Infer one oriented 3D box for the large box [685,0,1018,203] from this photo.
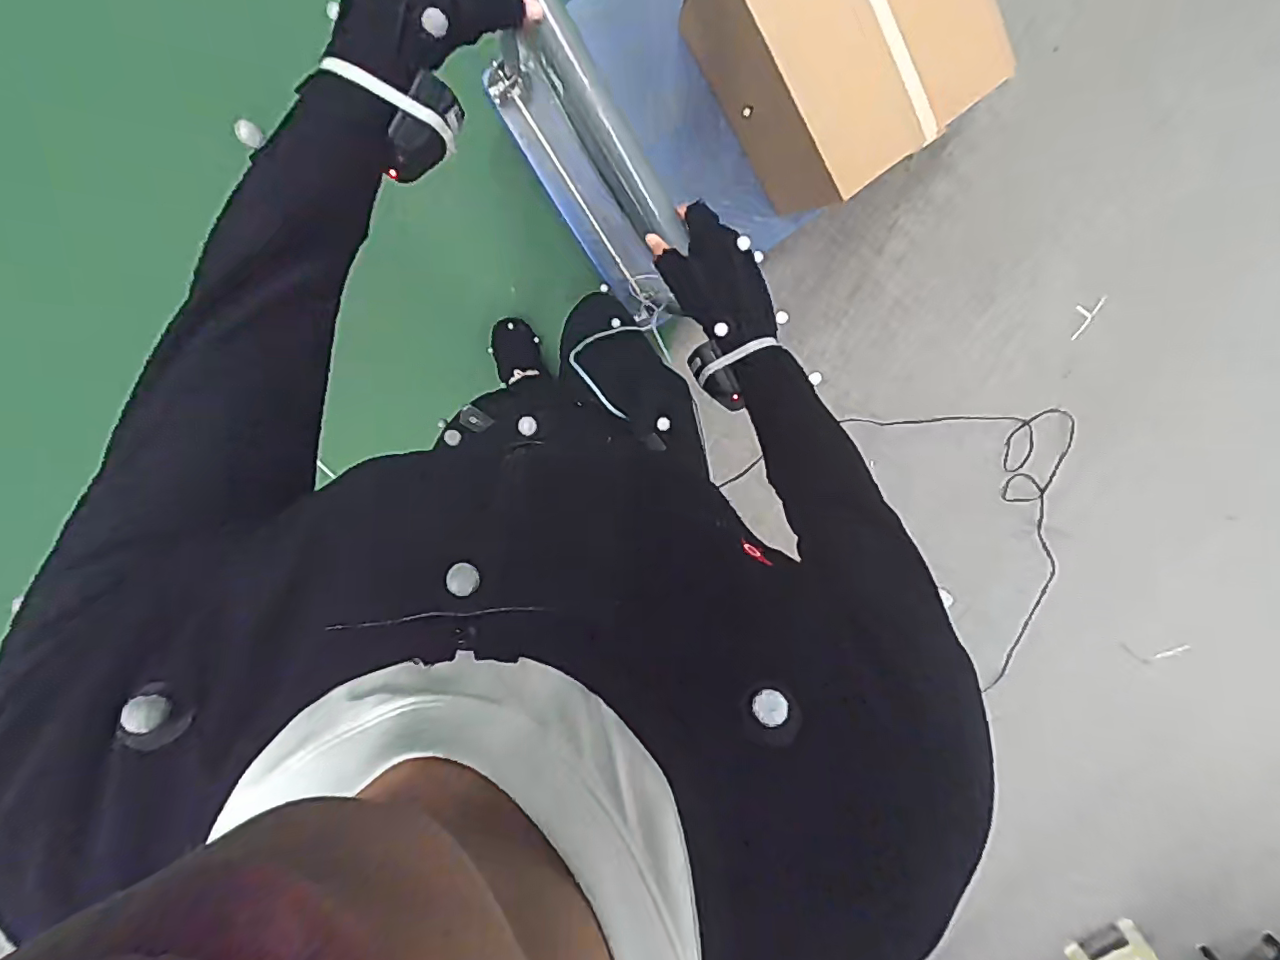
[{"bbox_3d":[0.327,-0.755,0.915,0.320,0.320,0.408,-35,110,9],"label":"large box"}]
